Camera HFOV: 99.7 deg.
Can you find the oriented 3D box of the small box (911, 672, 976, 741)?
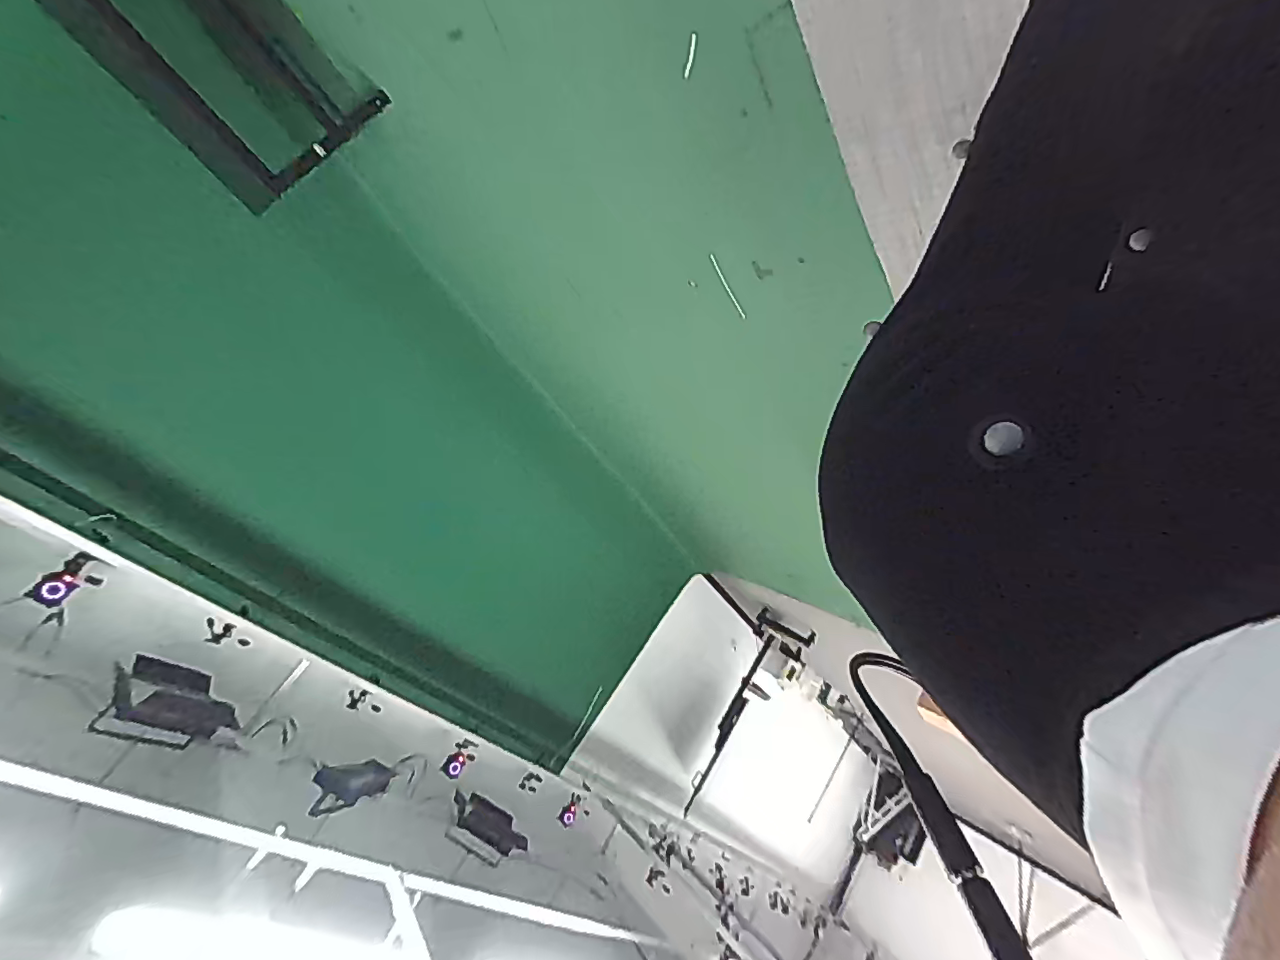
[{"bbox_3d":[1.221,0.903,2.164,0.168,0.176,0.179,14,152,48],"label":"small box"}]
